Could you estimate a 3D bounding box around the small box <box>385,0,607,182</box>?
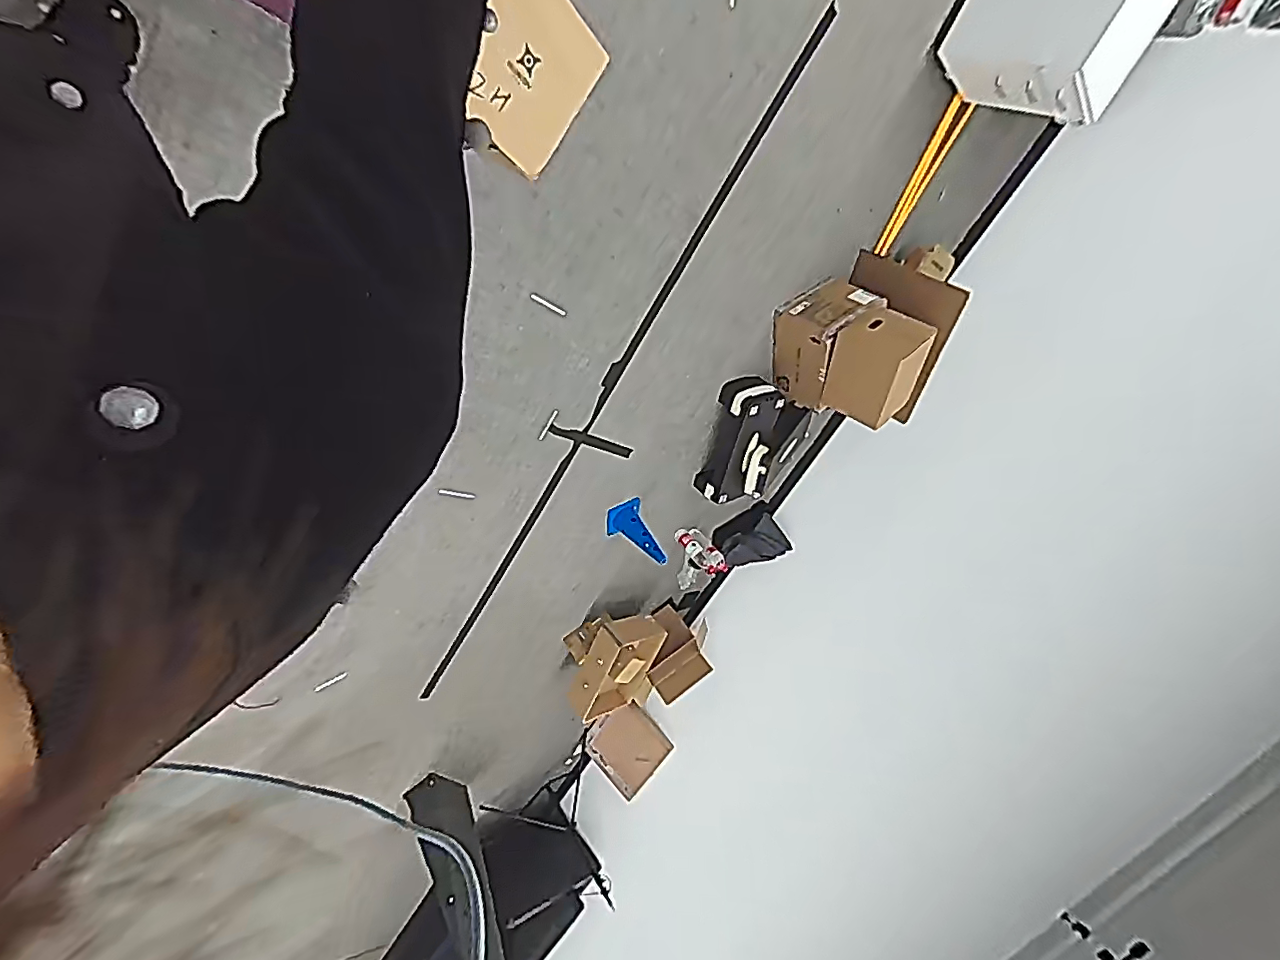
[{"bbox_3d":[-0.181,-0.513,0.662,0.179,0.176,0.168,-54,143,10],"label":"small box"}]
